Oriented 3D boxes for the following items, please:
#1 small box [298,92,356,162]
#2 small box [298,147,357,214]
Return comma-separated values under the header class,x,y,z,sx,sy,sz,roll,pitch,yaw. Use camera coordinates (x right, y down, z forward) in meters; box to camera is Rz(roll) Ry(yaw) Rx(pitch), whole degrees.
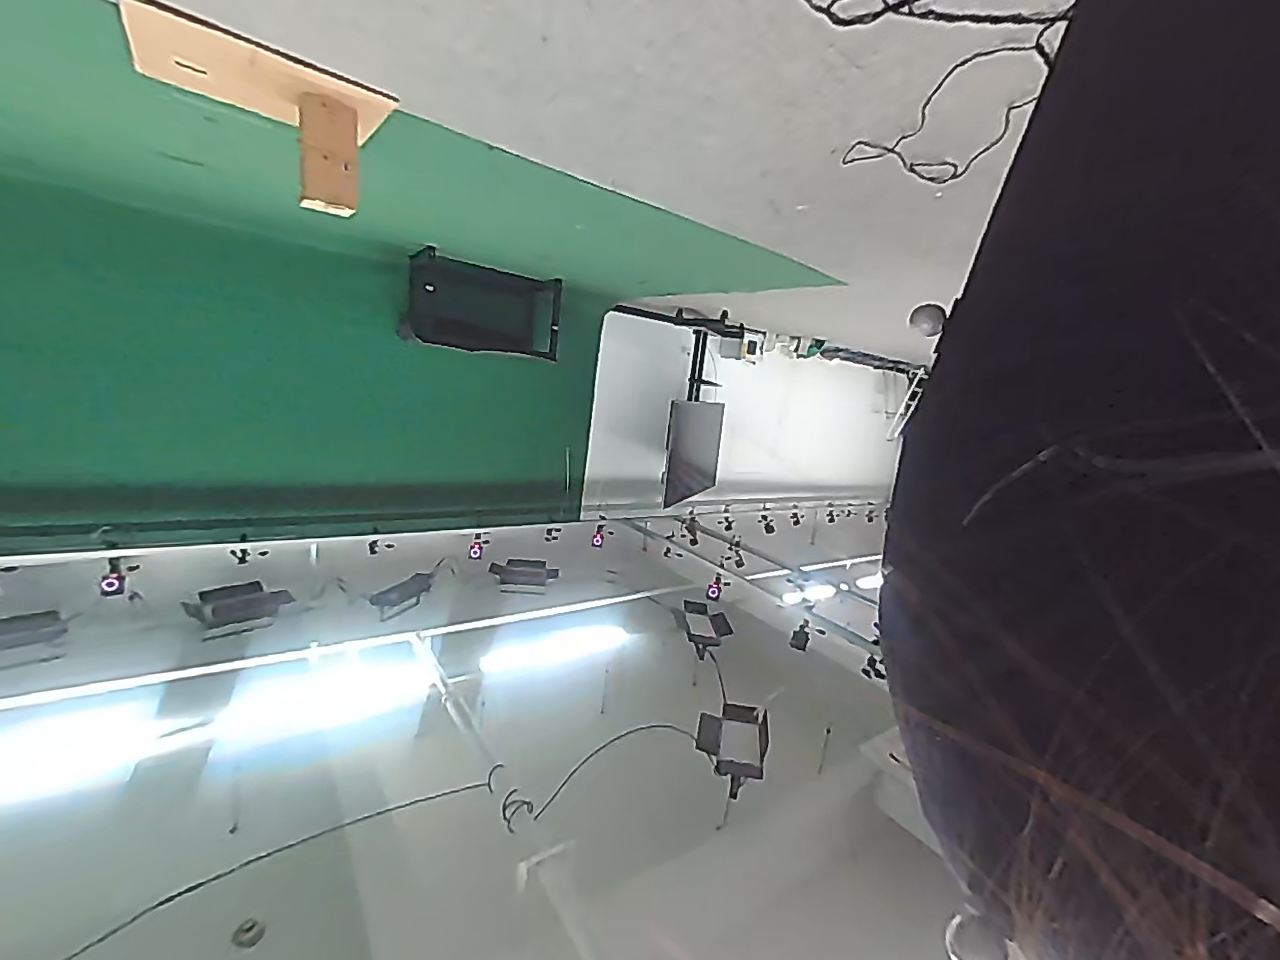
class,x,y,z,sx,sy,sz,roll,pitch,yaw
small box,-1.134,-1.262,1.958,0.168,0.176,0.179,-3,-166,-37
small box,-1.154,-1.102,1.991,0.168,0.176,0.179,-3,-165,-39
